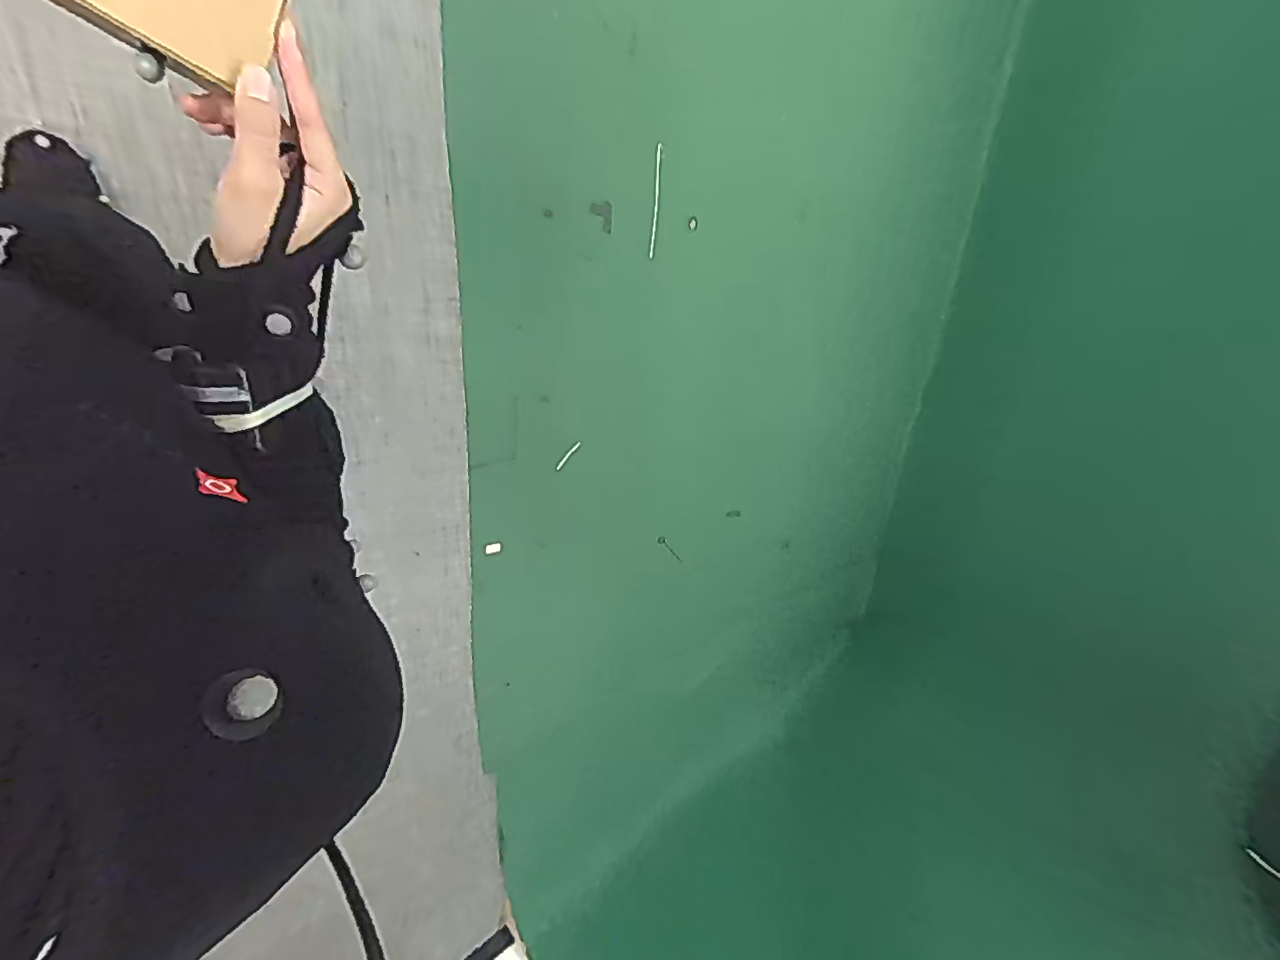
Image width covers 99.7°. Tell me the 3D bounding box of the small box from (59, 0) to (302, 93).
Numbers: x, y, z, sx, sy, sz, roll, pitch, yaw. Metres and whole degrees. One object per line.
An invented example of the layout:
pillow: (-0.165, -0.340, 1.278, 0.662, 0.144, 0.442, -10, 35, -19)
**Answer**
small box: (-0.259, -0.316, 0.245, 0.179, 0.176, 0.168, 12, 110, -51)
